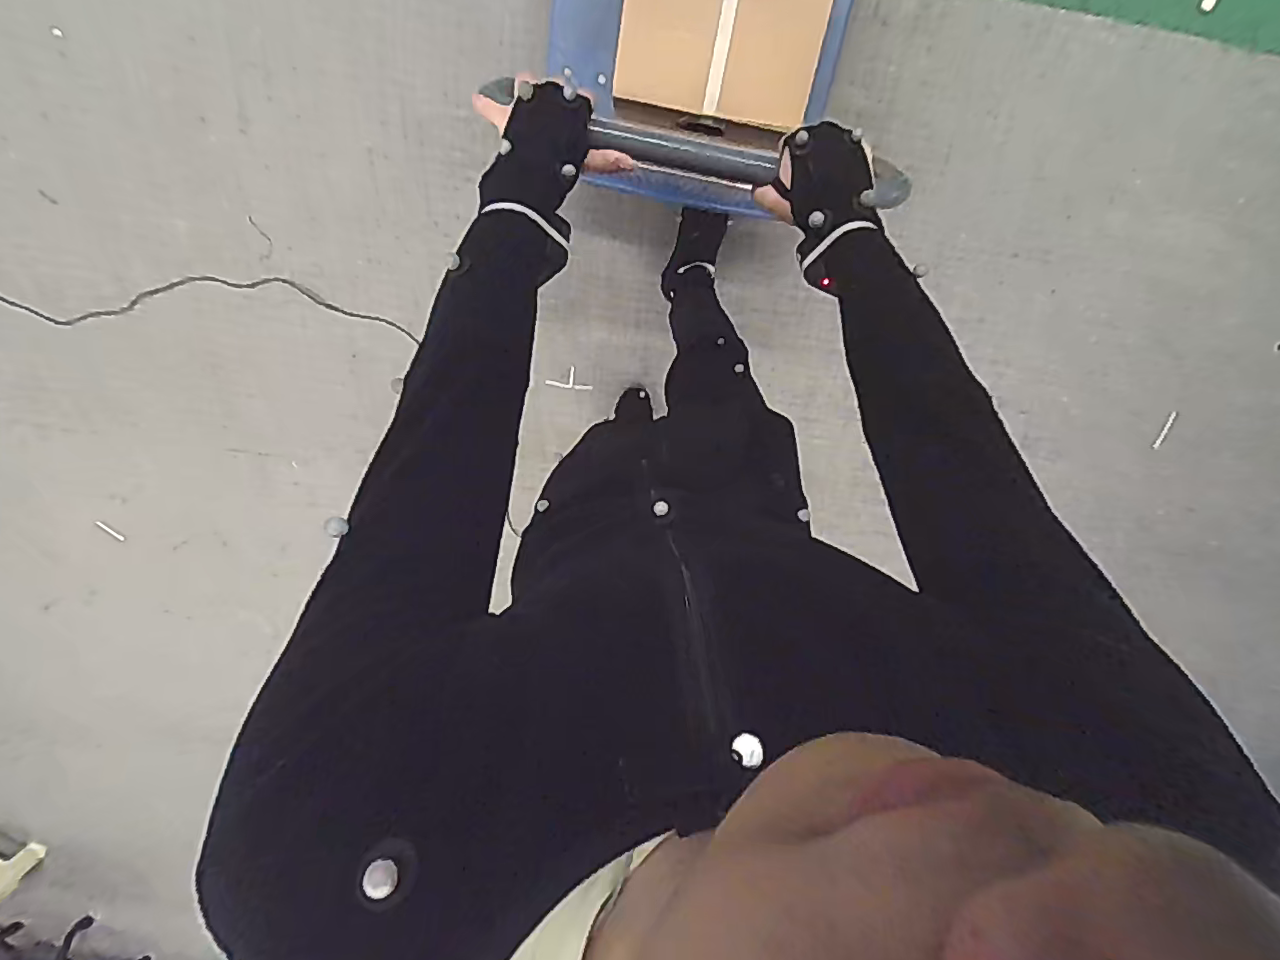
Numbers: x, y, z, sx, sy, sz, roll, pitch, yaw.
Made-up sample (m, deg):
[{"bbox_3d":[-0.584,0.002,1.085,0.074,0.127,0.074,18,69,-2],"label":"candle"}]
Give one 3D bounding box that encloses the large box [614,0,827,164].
[{"bbox_3d":[0.138,-0.827,0.948,0.320,0.320,0.408,9,111,-4],"label":"large box"}]
